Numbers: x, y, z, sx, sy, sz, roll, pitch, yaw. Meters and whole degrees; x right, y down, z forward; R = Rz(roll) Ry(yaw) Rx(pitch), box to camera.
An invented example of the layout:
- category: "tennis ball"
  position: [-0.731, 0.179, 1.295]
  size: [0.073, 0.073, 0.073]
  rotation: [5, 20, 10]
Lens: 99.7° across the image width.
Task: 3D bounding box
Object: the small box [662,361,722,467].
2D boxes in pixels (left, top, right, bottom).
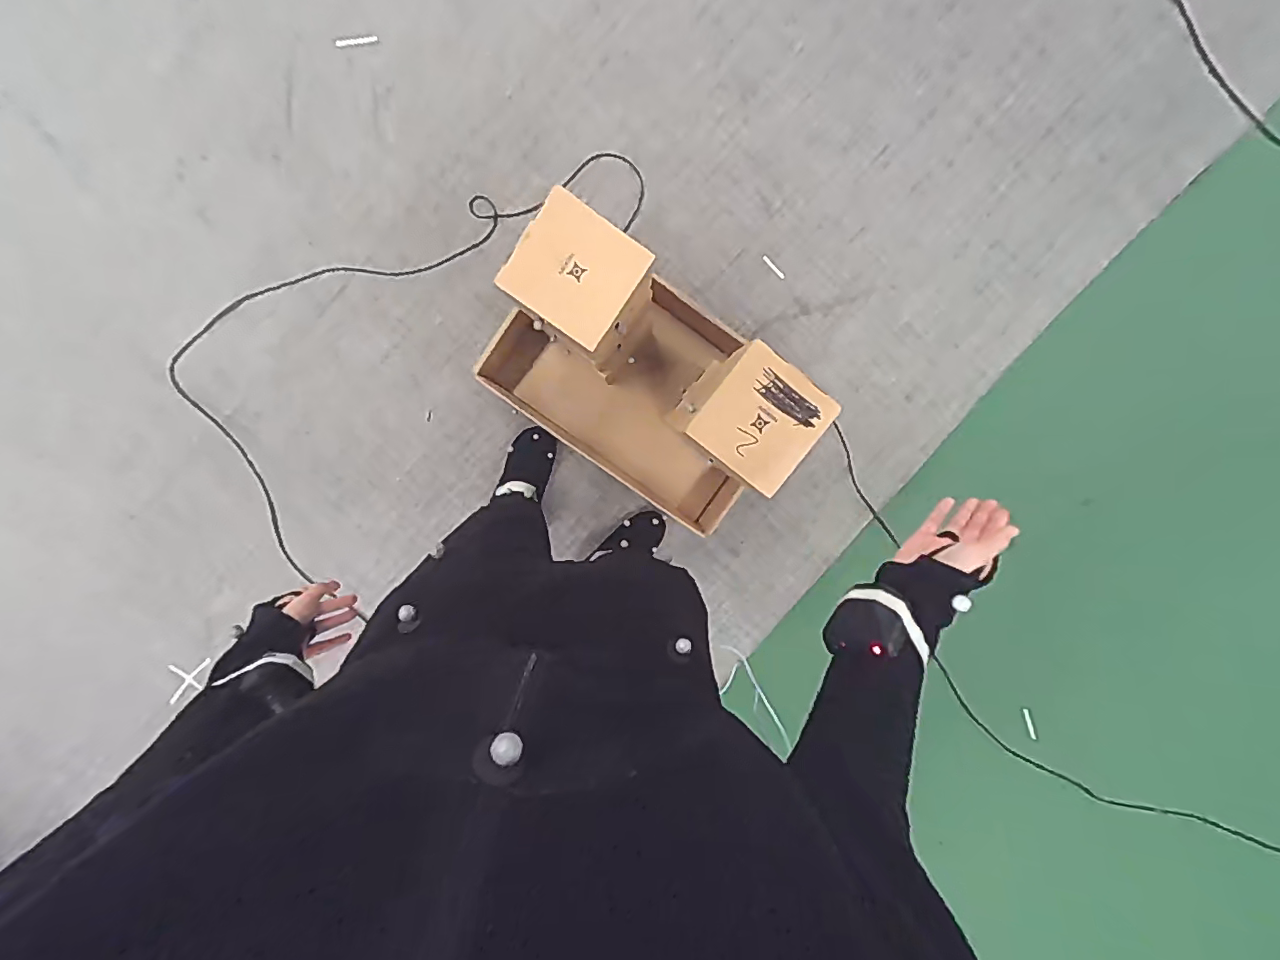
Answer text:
- category: "small box"
  position: [0.163, -0.135, 1.199]
  size: [0.179, 0.176, 0.168]
  rotation: [40, 93, -4]

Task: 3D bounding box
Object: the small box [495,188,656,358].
- category: "small box"
  position: [-0.092, -0.307, 0.849]
  size: [0.179, 0.176, 0.168]
  rotation: [35, 94, -4]

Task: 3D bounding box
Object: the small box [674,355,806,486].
- category: "small box"
  position: [0.180, -0.111, 1.037]
  size: [0.168, 0.176, 0.179]
  rotation: [40, 92, -5]

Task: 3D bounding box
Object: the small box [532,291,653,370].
- category: "small box"
  position: [-0.097, -0.323, 1.010]
  size: [0.179, 0.176, 0.168]
  rotation: [40, 94, -6]
